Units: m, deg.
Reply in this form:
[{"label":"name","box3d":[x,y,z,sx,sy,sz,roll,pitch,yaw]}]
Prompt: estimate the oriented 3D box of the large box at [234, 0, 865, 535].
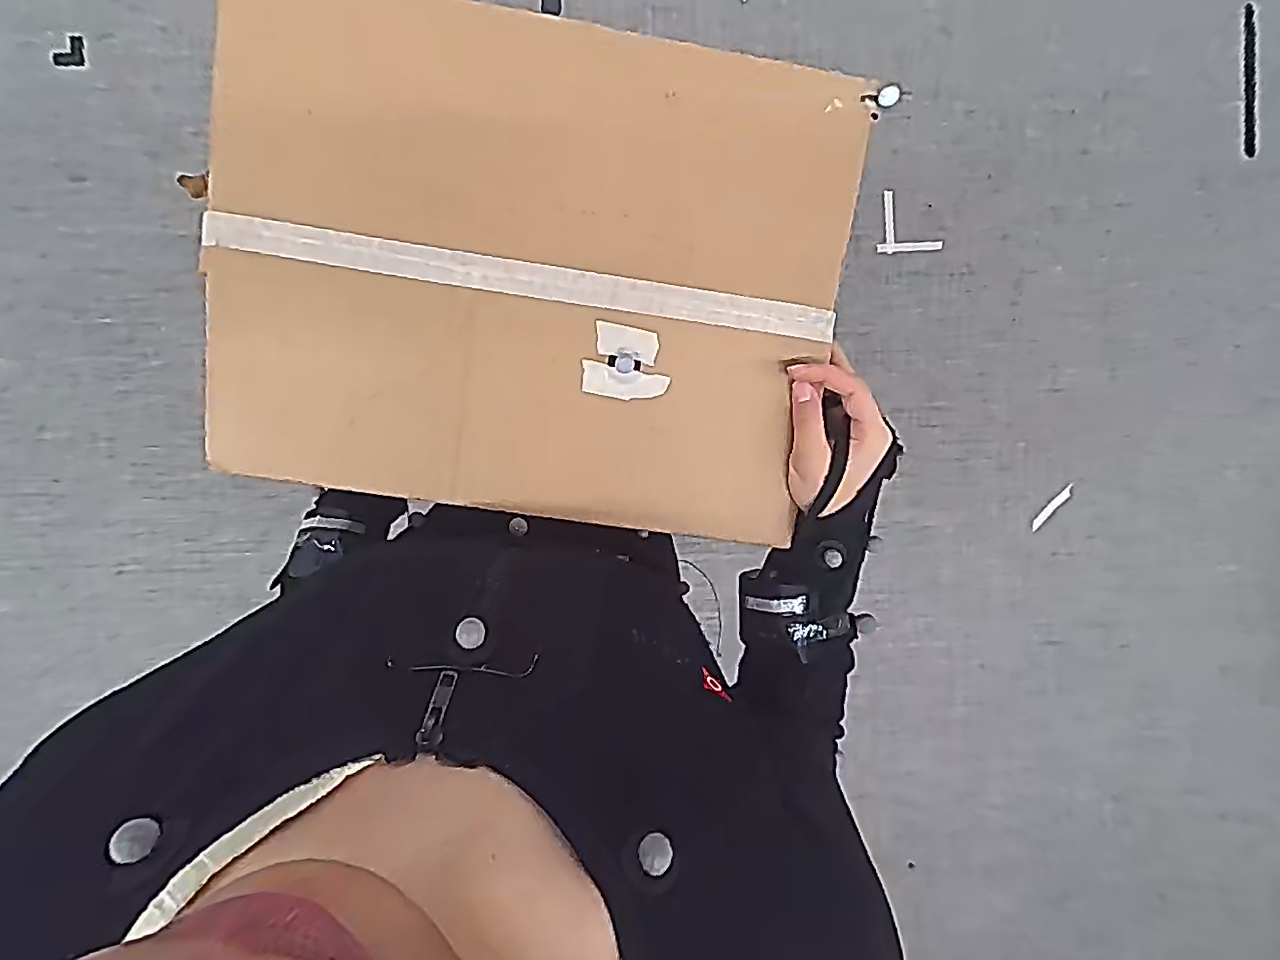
[{"label":"large box","box3d":[-0.073,-0.150,0.512,0.408,0.320,0.320,7,99,-5]}]
